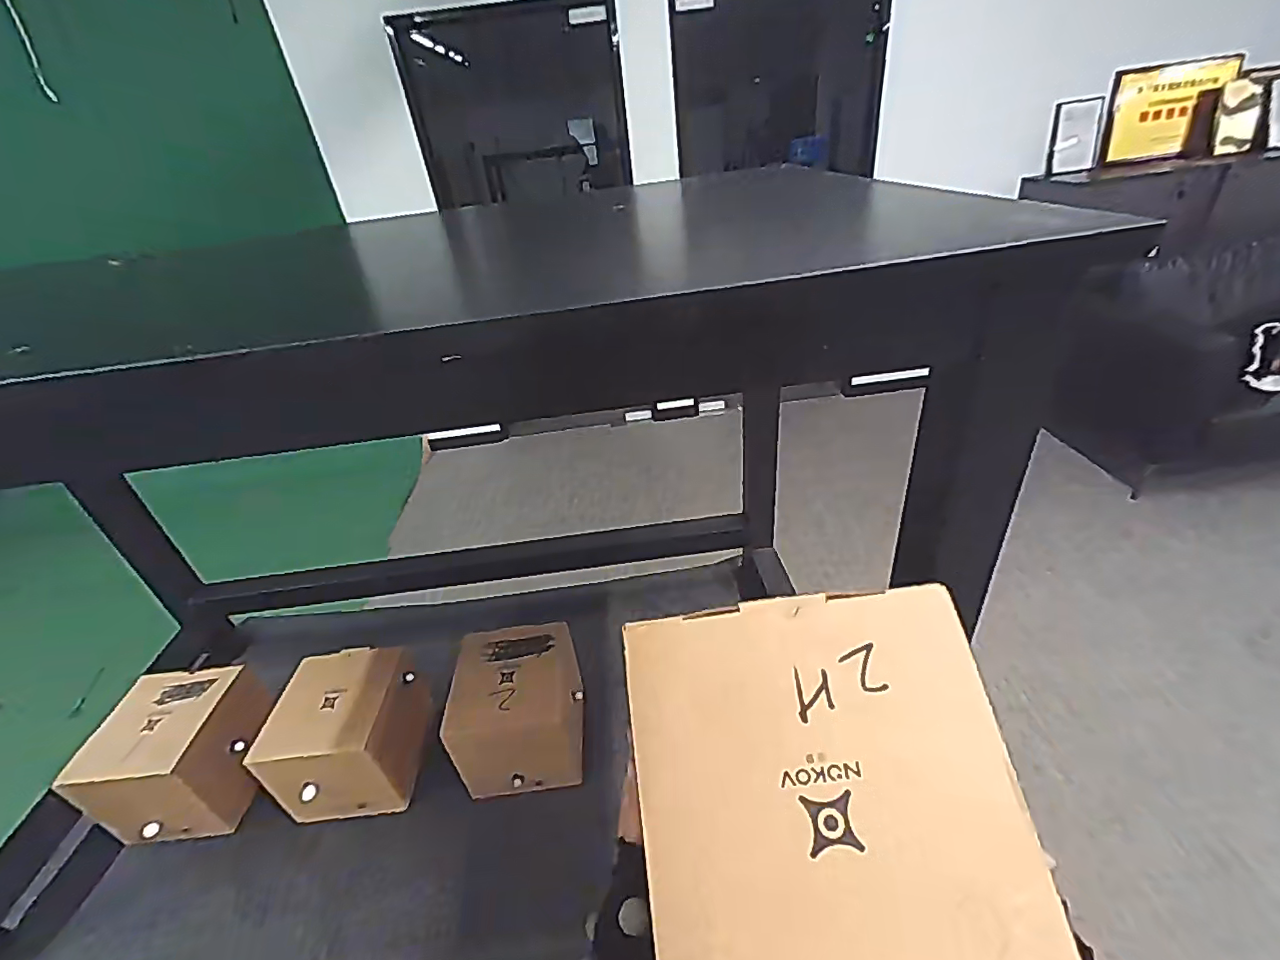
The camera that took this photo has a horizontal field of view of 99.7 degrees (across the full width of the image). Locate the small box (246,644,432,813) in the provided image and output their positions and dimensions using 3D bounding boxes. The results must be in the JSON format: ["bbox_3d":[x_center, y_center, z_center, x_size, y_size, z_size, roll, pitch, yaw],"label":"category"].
[{"bbox_3d":[-0.439,0.383,0.829,0.168,0.176,0.179,-7,32,1],"label":"small box"}]

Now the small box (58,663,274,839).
[{"bbox_3d":[-0.691,0.412,0.829,0.168,0.176,0.179,-7,33,1],"label":"small box"}]
